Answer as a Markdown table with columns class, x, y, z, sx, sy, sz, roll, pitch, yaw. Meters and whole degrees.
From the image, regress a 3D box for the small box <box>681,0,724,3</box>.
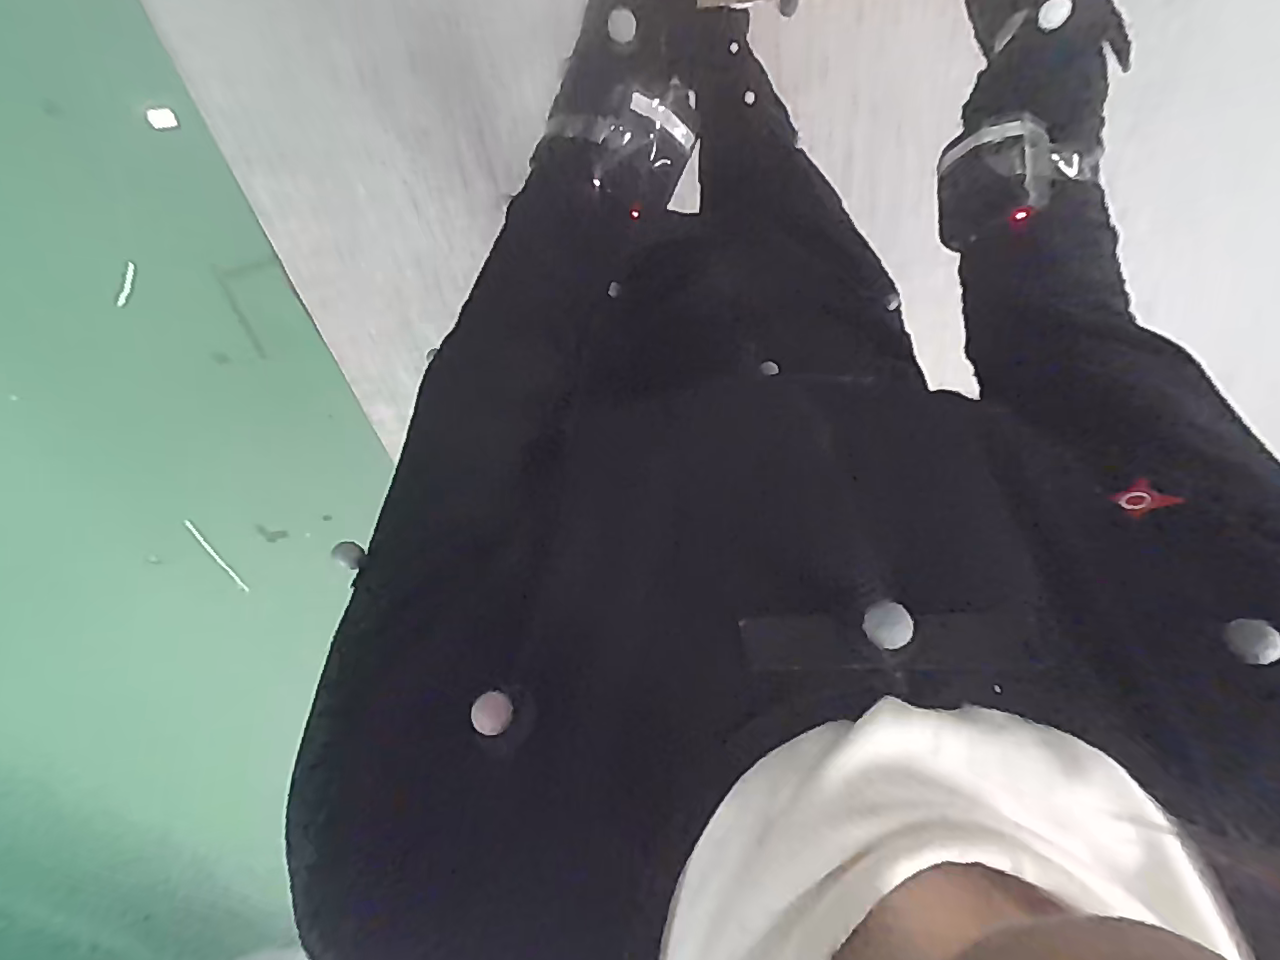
| class | x | y | z | sx | sy | sz | roll | pitch | yaw |
| --- | --- | --- | --- | --- | --- | --- | --- | --- | --- |
| small box | 0.114 | -0.444 | 0.355 | 0.179 | 0.176 | 0.168 | -8 | 121 | -2 |
